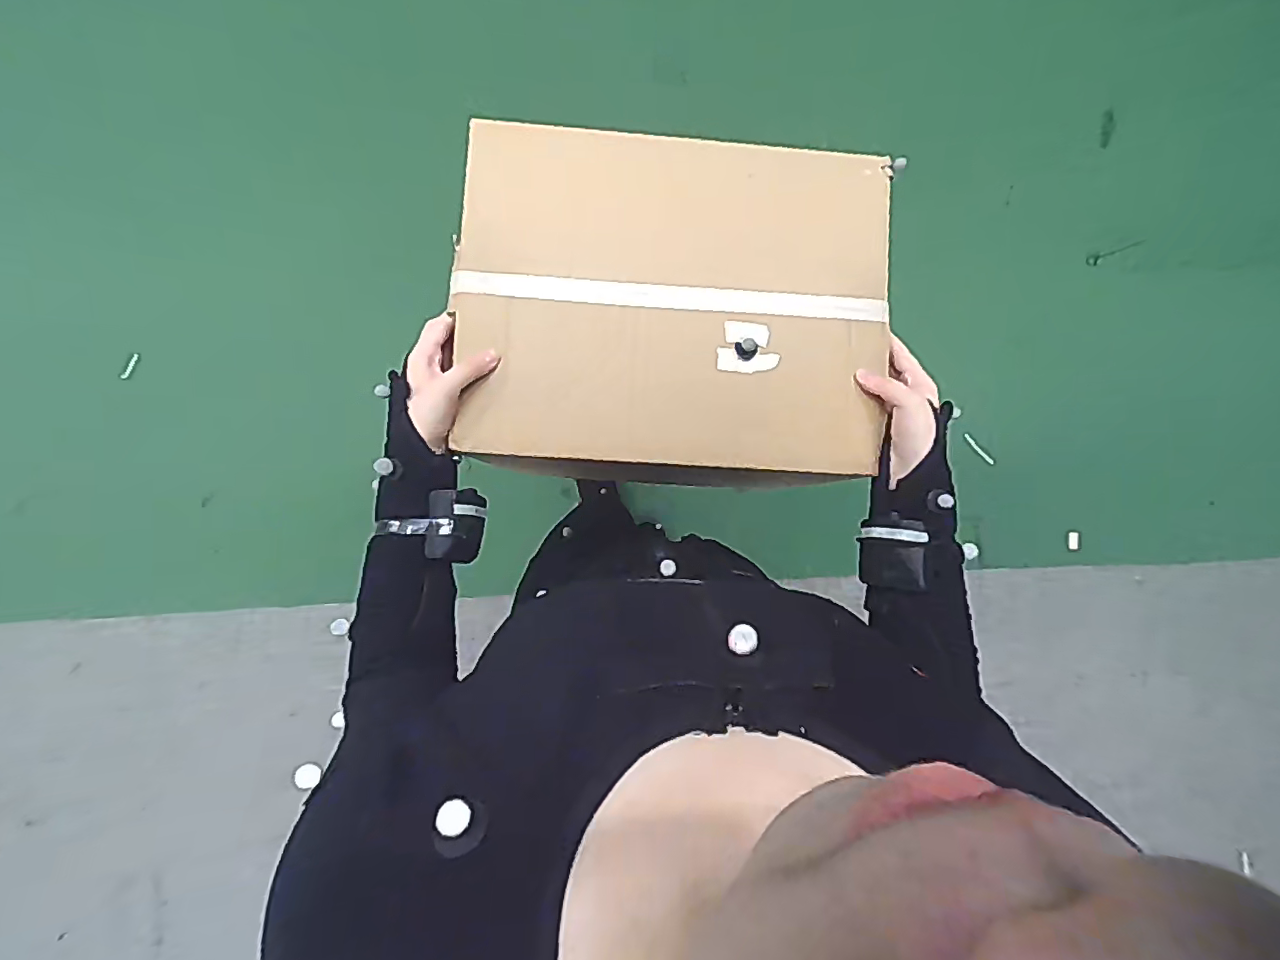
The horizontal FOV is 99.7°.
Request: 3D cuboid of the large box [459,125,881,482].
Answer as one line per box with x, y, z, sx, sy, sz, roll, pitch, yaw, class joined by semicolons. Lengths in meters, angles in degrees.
0.024;-0.167;0.662;0.408;0.320;0.320;3;87;-4;large box
